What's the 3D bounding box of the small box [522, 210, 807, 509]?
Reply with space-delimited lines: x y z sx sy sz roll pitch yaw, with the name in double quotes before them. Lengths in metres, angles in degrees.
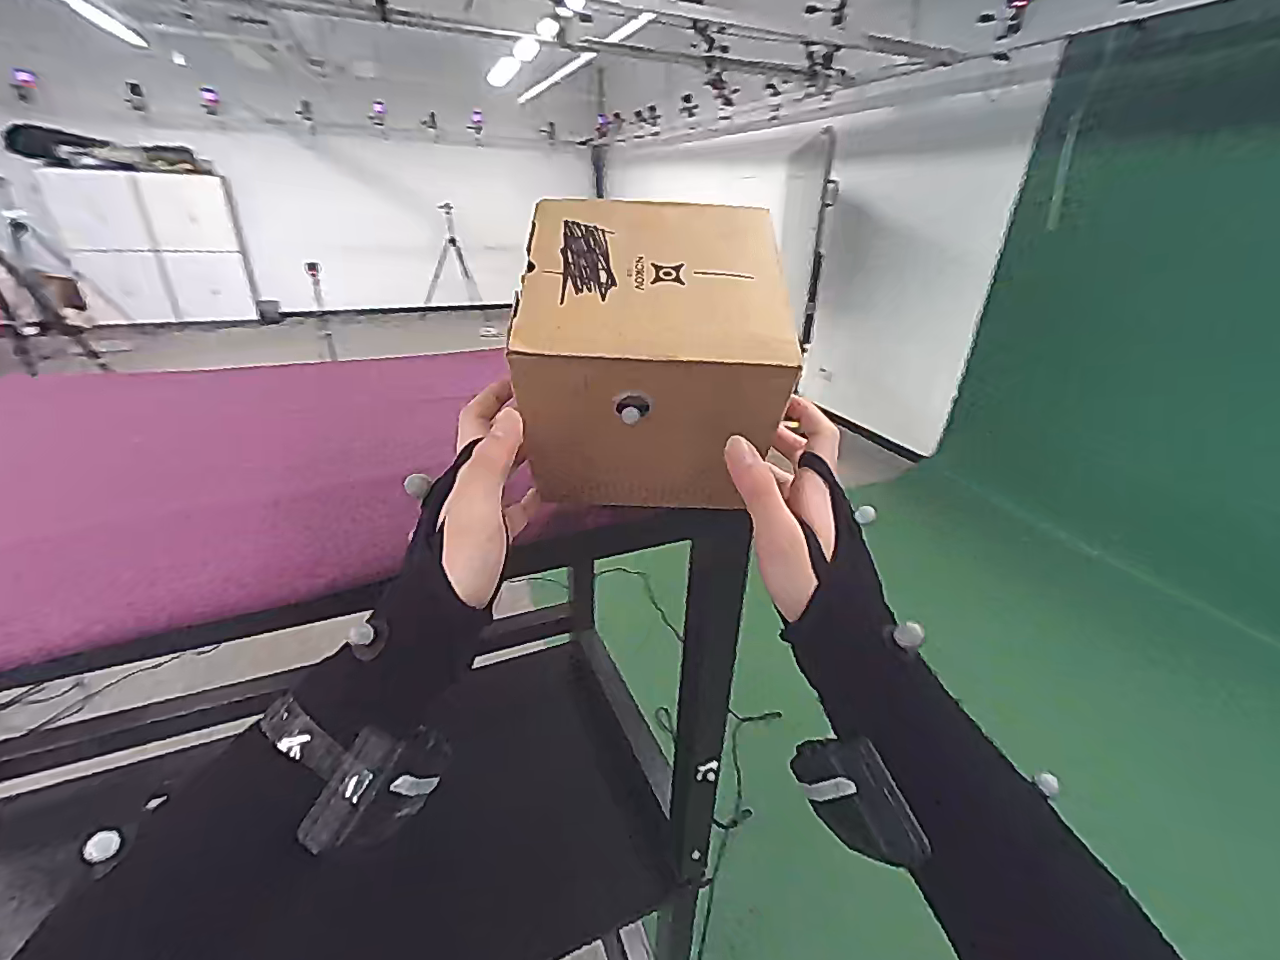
"small box" 0.014 -0.087 0.433 0.179 0.176 0.168 2 58 -2
